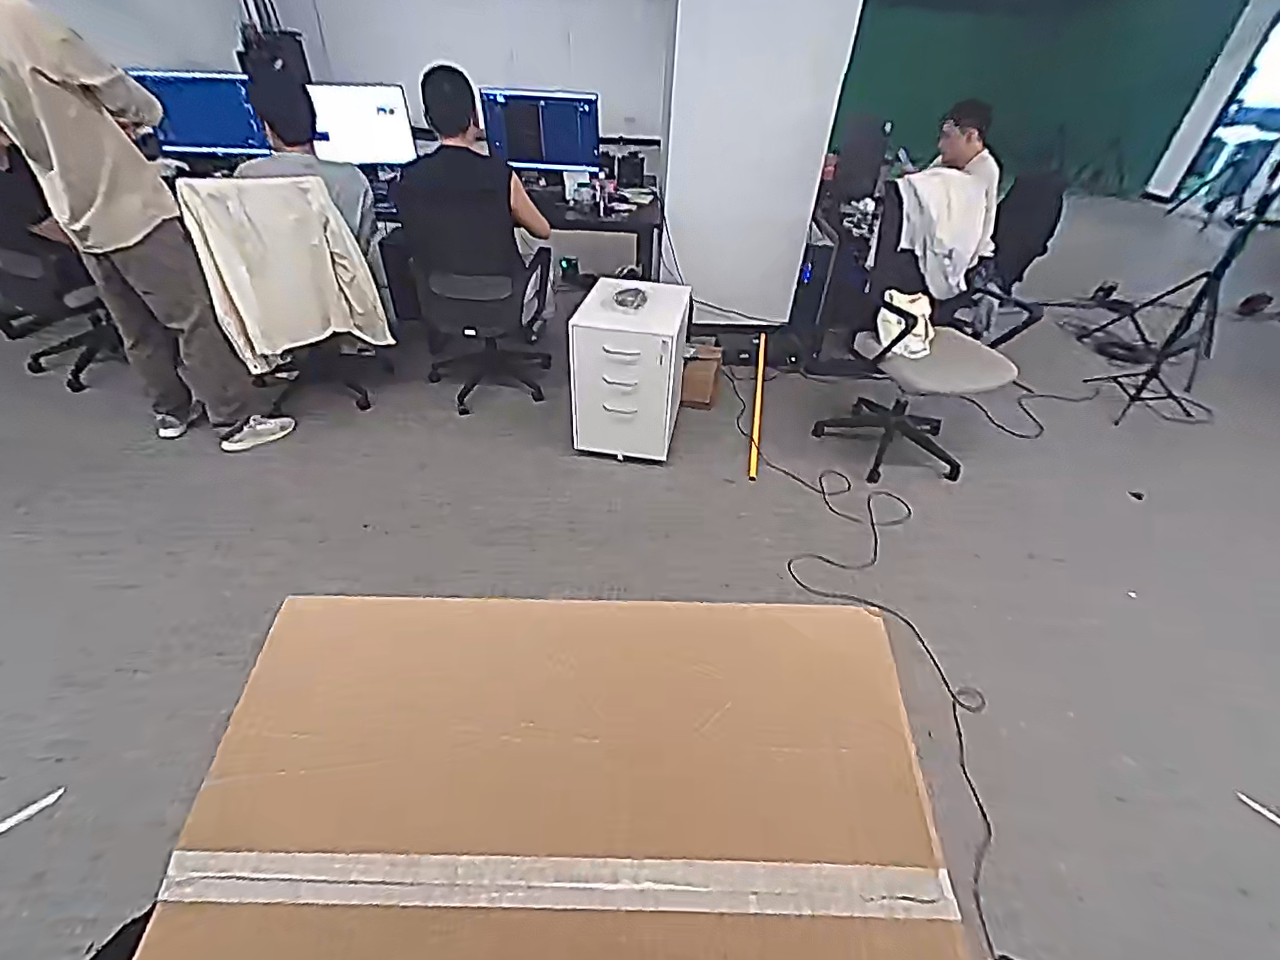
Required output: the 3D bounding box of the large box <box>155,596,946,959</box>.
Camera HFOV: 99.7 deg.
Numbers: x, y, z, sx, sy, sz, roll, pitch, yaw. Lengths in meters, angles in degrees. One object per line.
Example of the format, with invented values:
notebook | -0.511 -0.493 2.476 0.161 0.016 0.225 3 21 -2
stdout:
large box | -0.044 0.296 0.415 0.408 0.320 0.320 1 55 1
